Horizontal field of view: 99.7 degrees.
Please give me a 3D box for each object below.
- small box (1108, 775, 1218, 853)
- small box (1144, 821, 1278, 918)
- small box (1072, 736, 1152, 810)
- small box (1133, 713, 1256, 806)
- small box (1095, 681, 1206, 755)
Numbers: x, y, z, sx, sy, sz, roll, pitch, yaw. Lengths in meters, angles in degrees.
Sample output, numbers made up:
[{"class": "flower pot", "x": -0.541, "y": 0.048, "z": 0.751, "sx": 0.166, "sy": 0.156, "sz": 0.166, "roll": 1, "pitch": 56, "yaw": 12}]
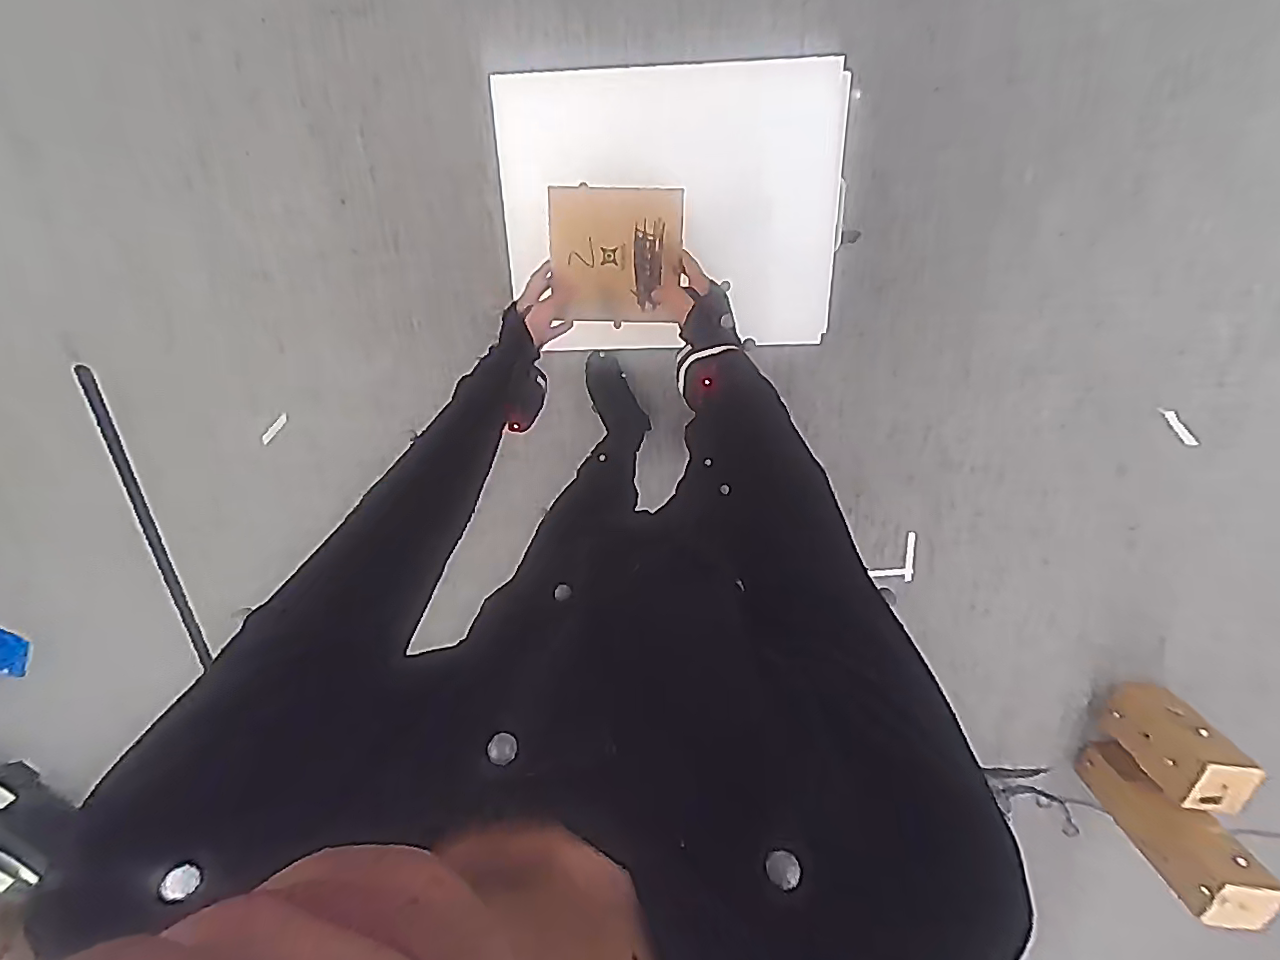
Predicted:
[{"class": "small box", "x": 1.666, "y": 1.078, "z": 1.736, "sx": 0.168, "sy": 0.176, "sz": 0.179, "roll": 0, "pitch": 111, "yaw": 2}, {"class": "small box", "x": 1.658, "y": 1.136, "z": 1.583, "sx": 0.179, "sy": 0.176, "sz": 0.168, "roll": 6, "pitch": 111, "yaw": -2}, {"class": "small box", "x": 1.672, "y": 1.018, "z": 1.887, "sx": 0.179, "sy": 0.176, "sz": 0.168, "roll": -1, "pitch": 111, "yaw": 3}, {"class": "small box", "x": 1.663, "y": 0.844, "z": 1.639, "sx": 0.168, "sy": 0.176, "sz": 0.179, "roll": 6, "pitch": 111, "yaw": -1}, {"class": "small box", "x": 1.683, "y": 0.790, "z": 1.794, "sx": 0.179, "sy": 0.176, "sz": 0.168, "roll": 3, "pitch": 111, "yaw": 1}]
